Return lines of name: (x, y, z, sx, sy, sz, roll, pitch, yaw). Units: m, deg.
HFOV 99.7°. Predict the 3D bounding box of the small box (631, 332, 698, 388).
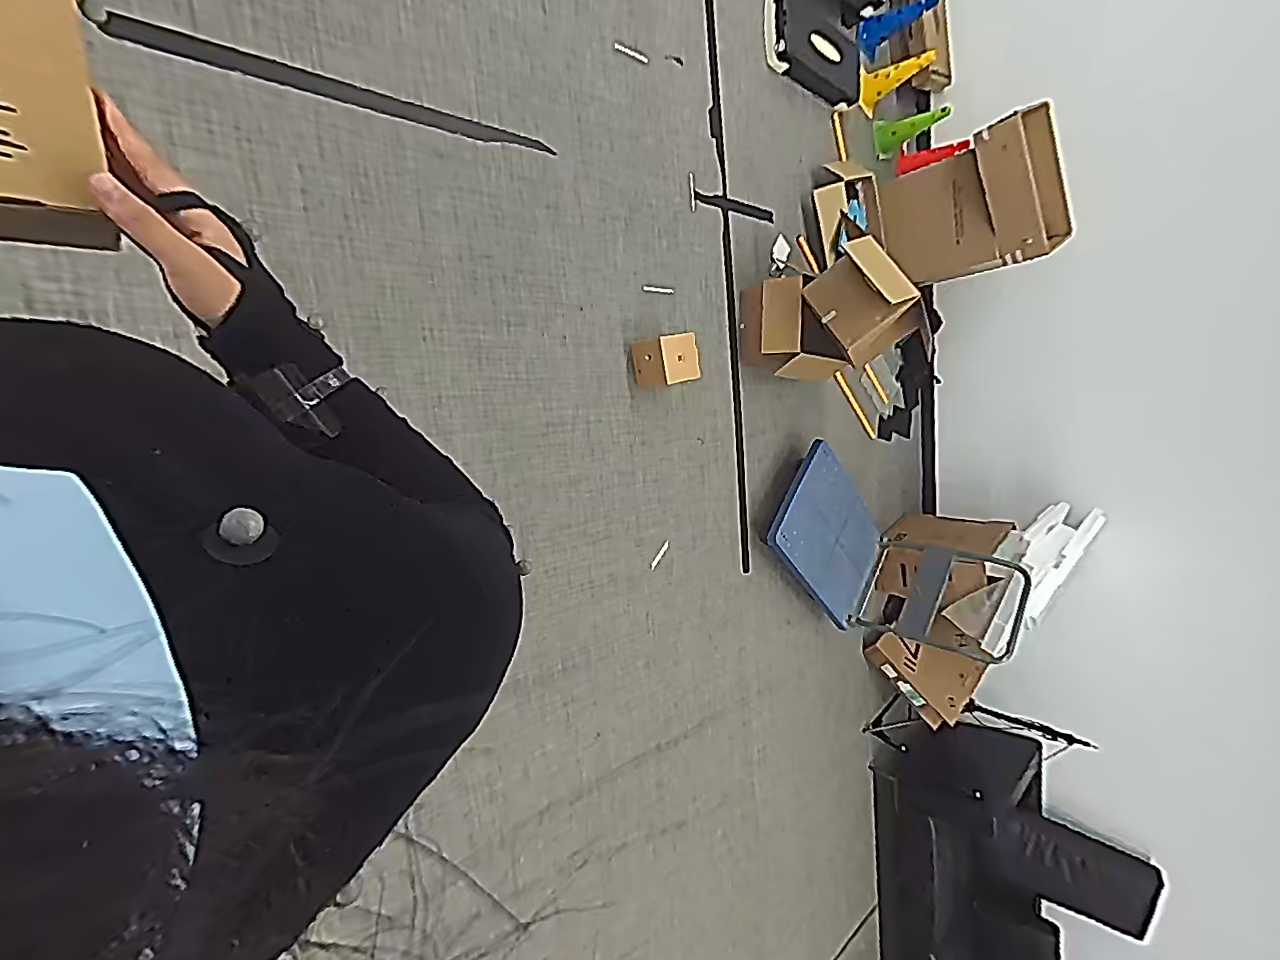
small box: (0.082, -0.434, 1.966, 0.179, 0.176, 0.168, -20, 106, -39)
